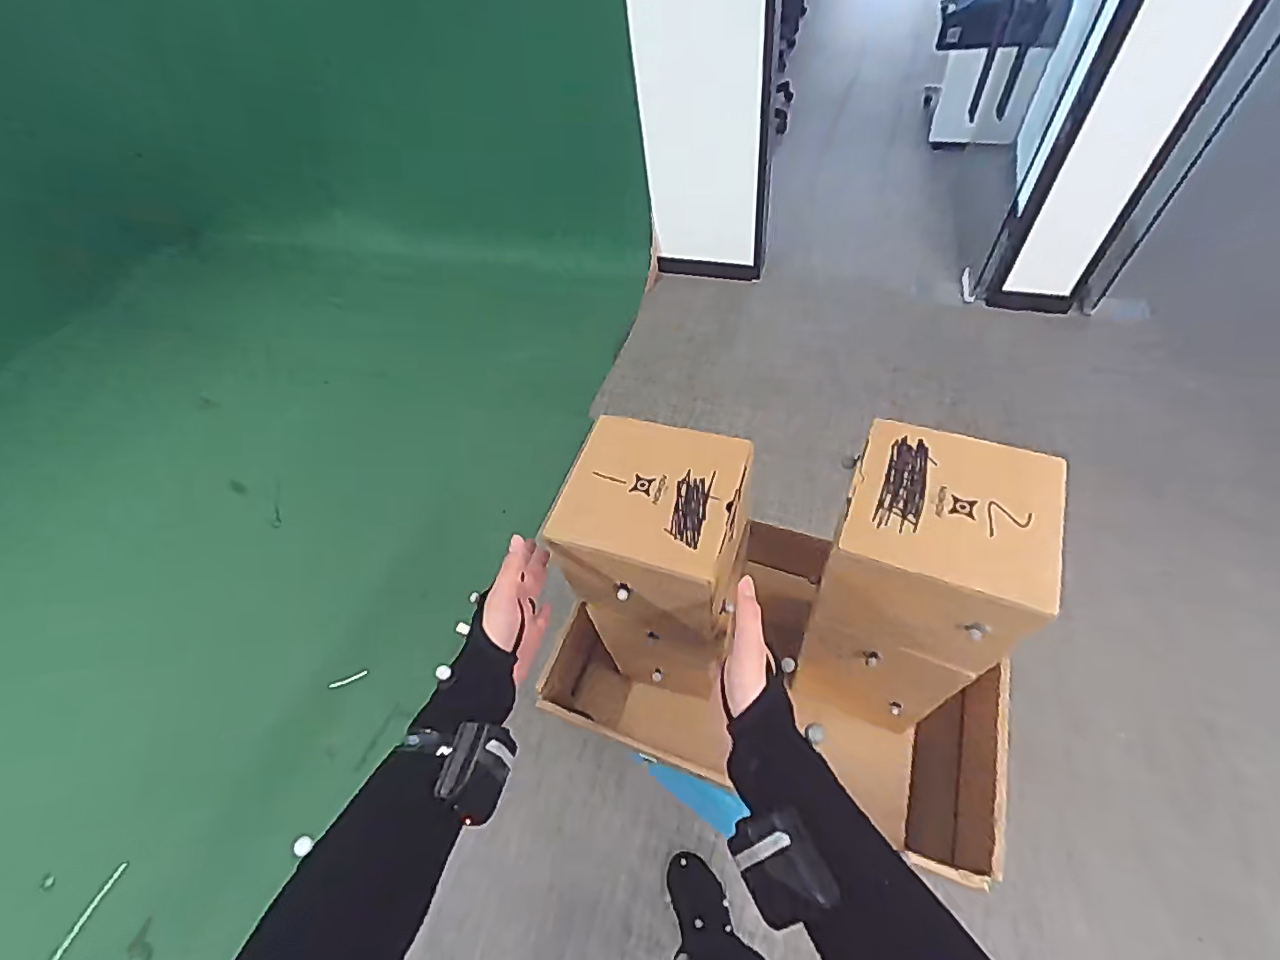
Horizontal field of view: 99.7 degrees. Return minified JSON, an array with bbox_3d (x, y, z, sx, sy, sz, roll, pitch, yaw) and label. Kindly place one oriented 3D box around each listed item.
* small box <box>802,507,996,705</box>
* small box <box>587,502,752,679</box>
[{"bbox_3d":[0.318,0.165,0.691,0.179,0.176,0.168,17,60,20],"label":"small box"},{"bbox_3d":[0.049,0.155,0.741,0.179,0.176,0.168,11,57,15],"label":"small box"}]
